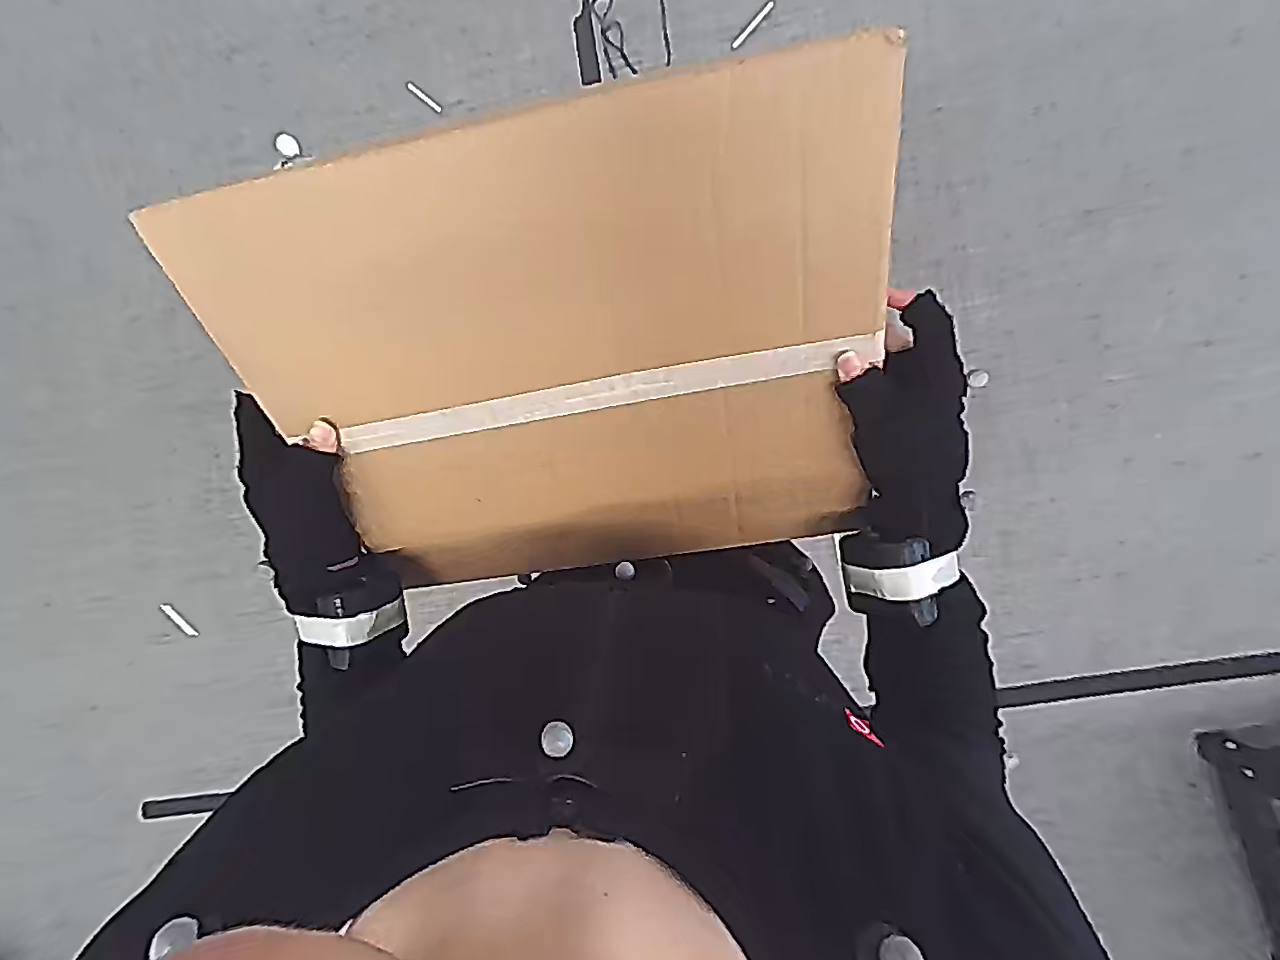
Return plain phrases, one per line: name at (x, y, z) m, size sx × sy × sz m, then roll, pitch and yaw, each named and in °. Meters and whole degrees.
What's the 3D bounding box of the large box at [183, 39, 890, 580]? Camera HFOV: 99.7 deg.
large box at (-0.043, -0.148, 0.490) m, size 0.408 × 0.320 × 0.320 m, roll -8°, pitch 128°, yaw 8°
